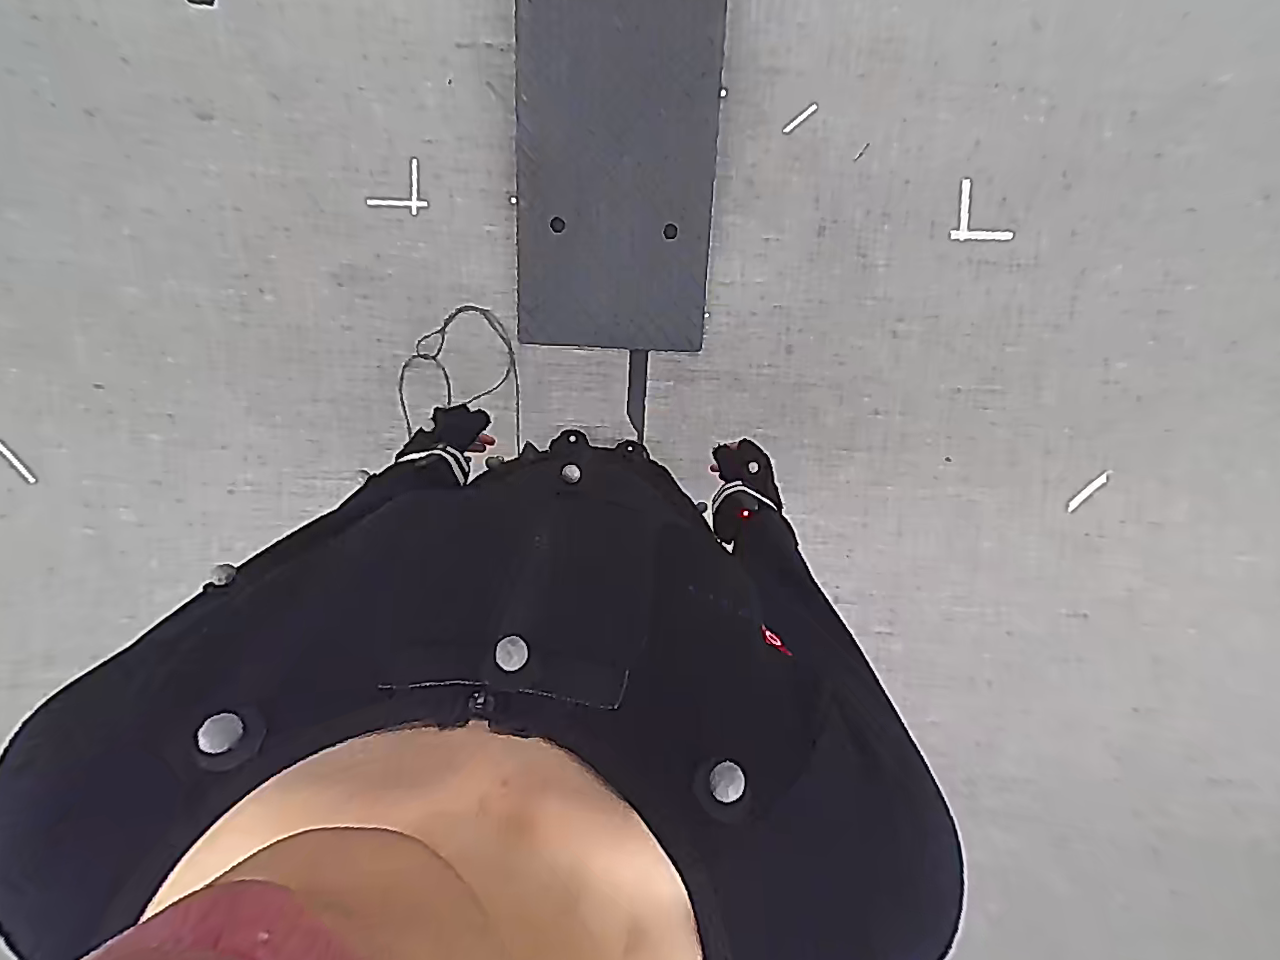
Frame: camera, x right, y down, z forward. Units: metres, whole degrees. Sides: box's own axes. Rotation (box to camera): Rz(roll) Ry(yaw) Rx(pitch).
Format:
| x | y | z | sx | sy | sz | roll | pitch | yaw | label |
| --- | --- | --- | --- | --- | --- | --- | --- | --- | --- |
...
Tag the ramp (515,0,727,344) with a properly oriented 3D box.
| x | y | z | sx | sy | sz | roll | pitch | yaw | label |
| --- | --- | --- | --- | --- | --- | --- | --- | --- | --- |
| -0.053 | -0.852 | 1.312 | 0.509 | 0.206 | 0.991 | 0 | 96 | -4 | ramp |
